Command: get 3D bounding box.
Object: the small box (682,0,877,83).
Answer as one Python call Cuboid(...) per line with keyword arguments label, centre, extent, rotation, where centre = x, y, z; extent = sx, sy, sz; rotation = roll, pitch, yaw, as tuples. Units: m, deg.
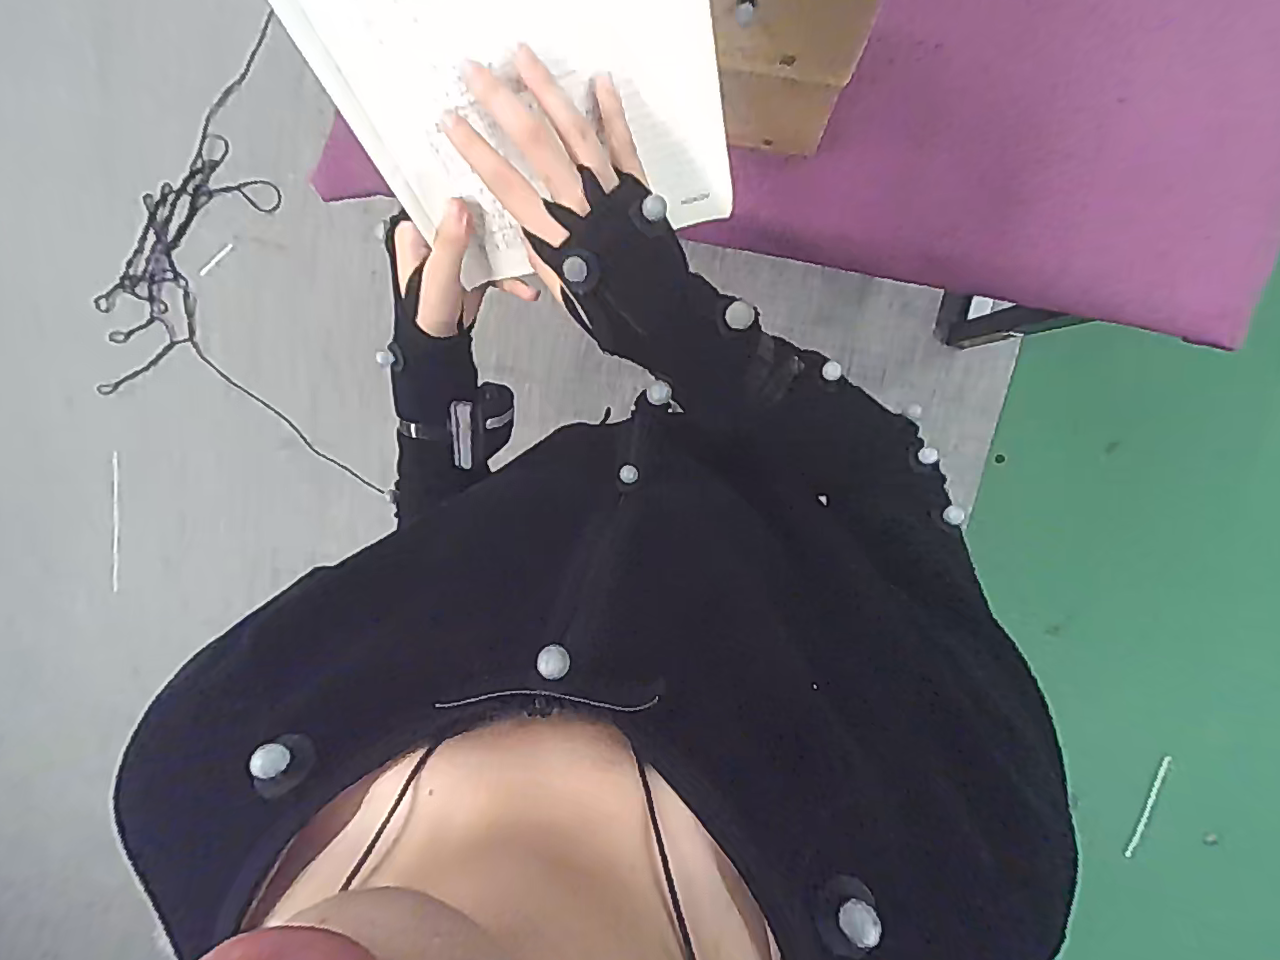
Cuboid(label="small box", centre=(0.130, -0.474, 0.446), extent=(0.168, 0.176, 0.179), rotation=(13, 98, 5))
